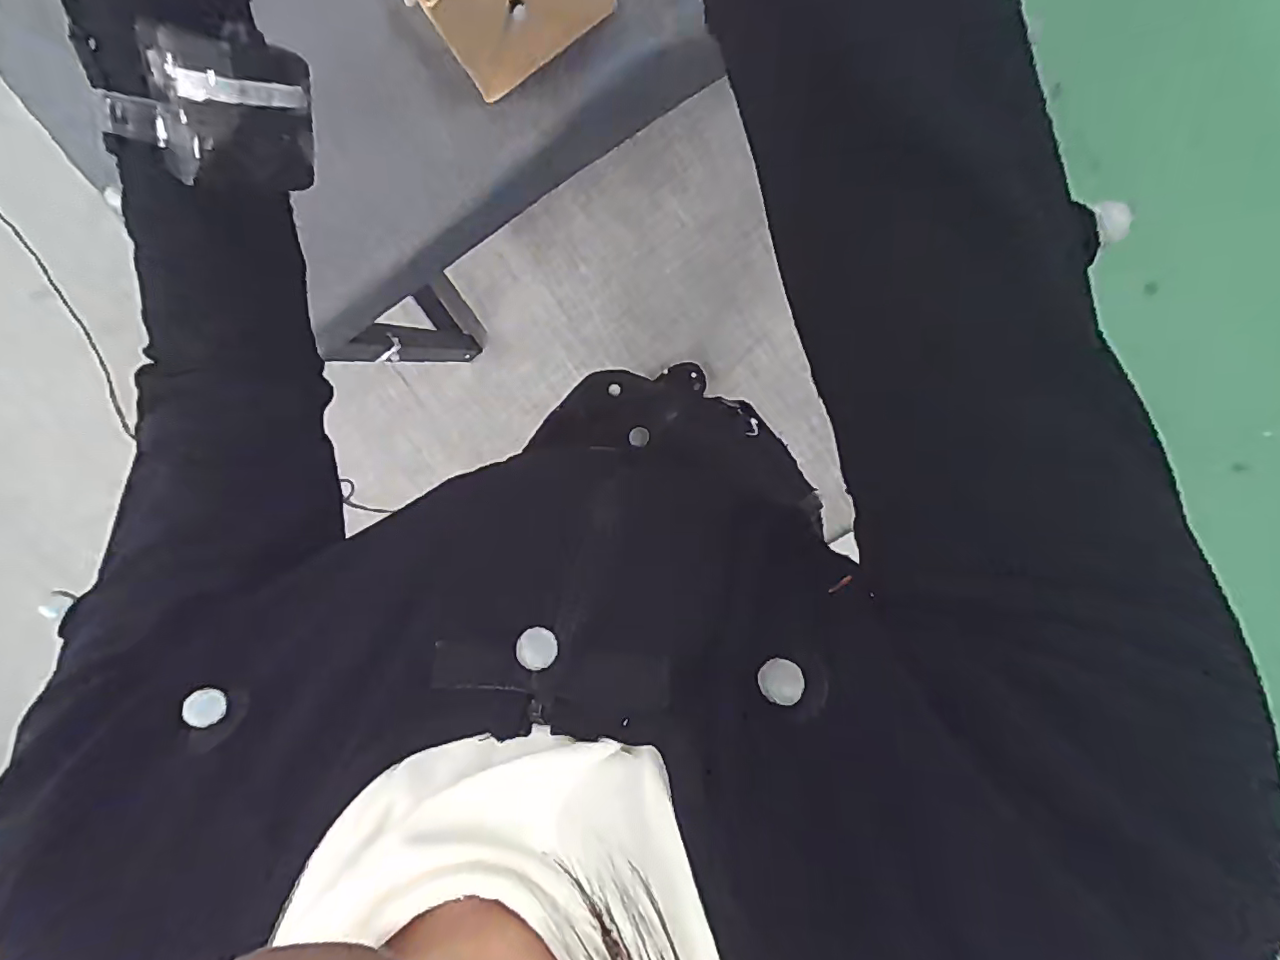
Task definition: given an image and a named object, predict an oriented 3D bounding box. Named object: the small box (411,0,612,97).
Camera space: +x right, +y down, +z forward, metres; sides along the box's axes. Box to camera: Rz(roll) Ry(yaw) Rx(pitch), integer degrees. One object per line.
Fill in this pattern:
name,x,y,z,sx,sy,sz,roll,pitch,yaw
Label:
small box,-0.143,-0.518,0.510,0.179,0.176,0.168,-30,97,11
